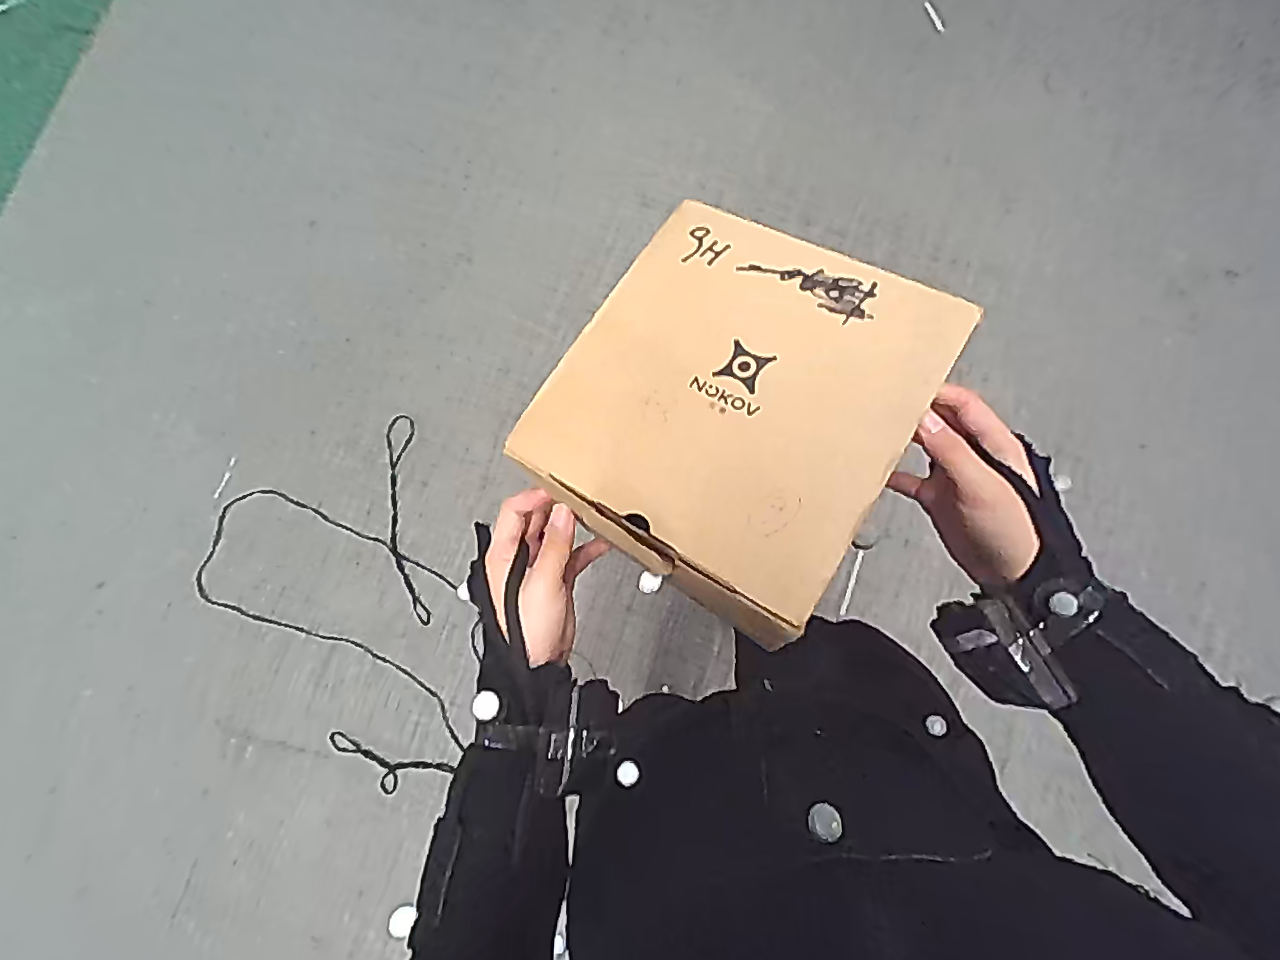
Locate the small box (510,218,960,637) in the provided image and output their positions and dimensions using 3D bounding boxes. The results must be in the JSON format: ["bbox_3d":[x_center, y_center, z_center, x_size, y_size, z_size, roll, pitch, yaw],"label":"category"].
[{"bbox_3d":[0.057,-0.016,0.343,0.168,0.176,0.179,30,79,18],"label":"small box"}]
